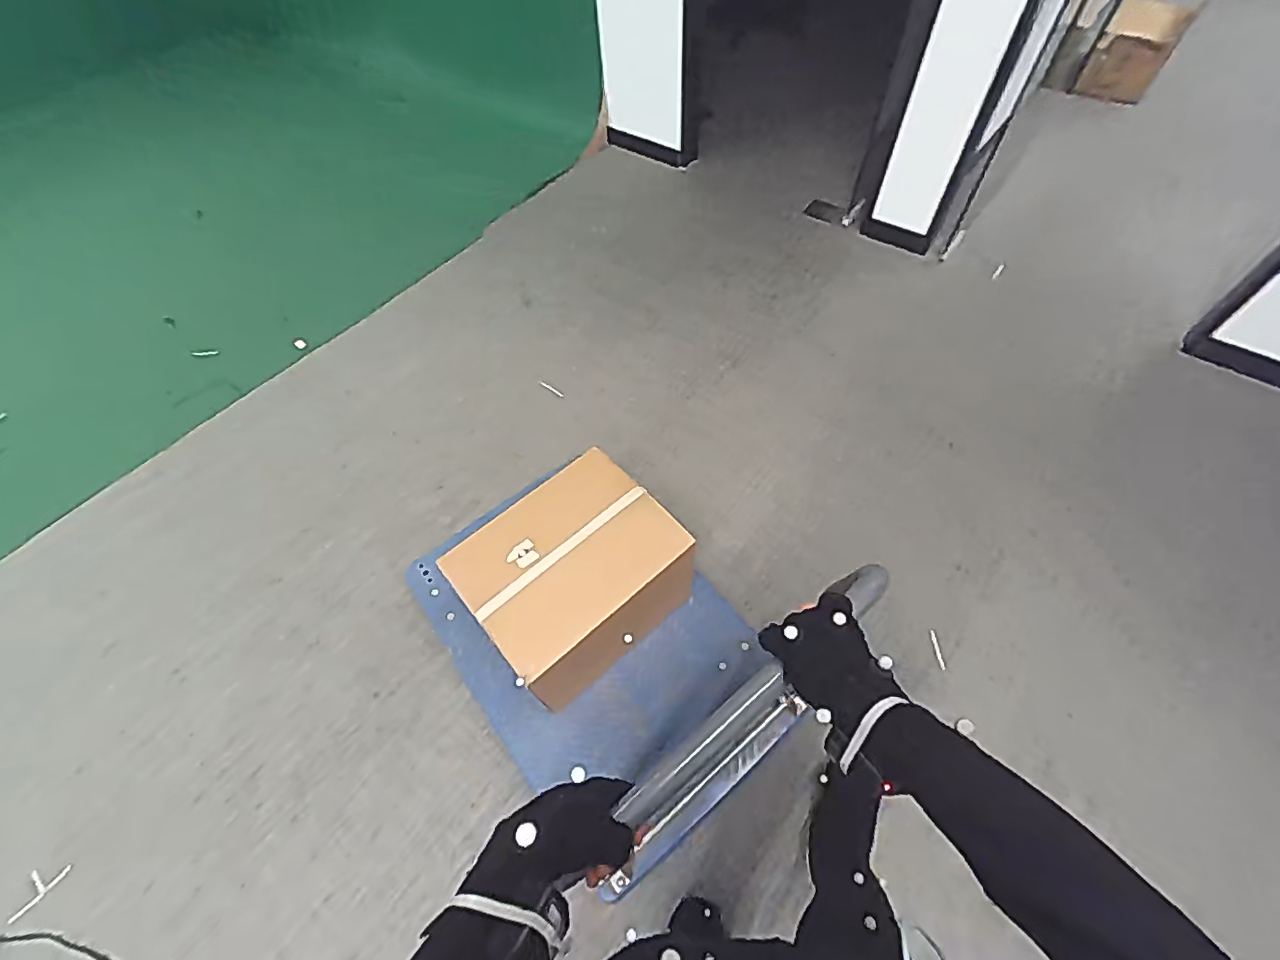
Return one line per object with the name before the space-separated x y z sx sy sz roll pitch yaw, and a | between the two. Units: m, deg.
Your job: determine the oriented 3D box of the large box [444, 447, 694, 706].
large box | -0.130 0.213 1.176 0.408 0.320 0.320 -39 64 -19
